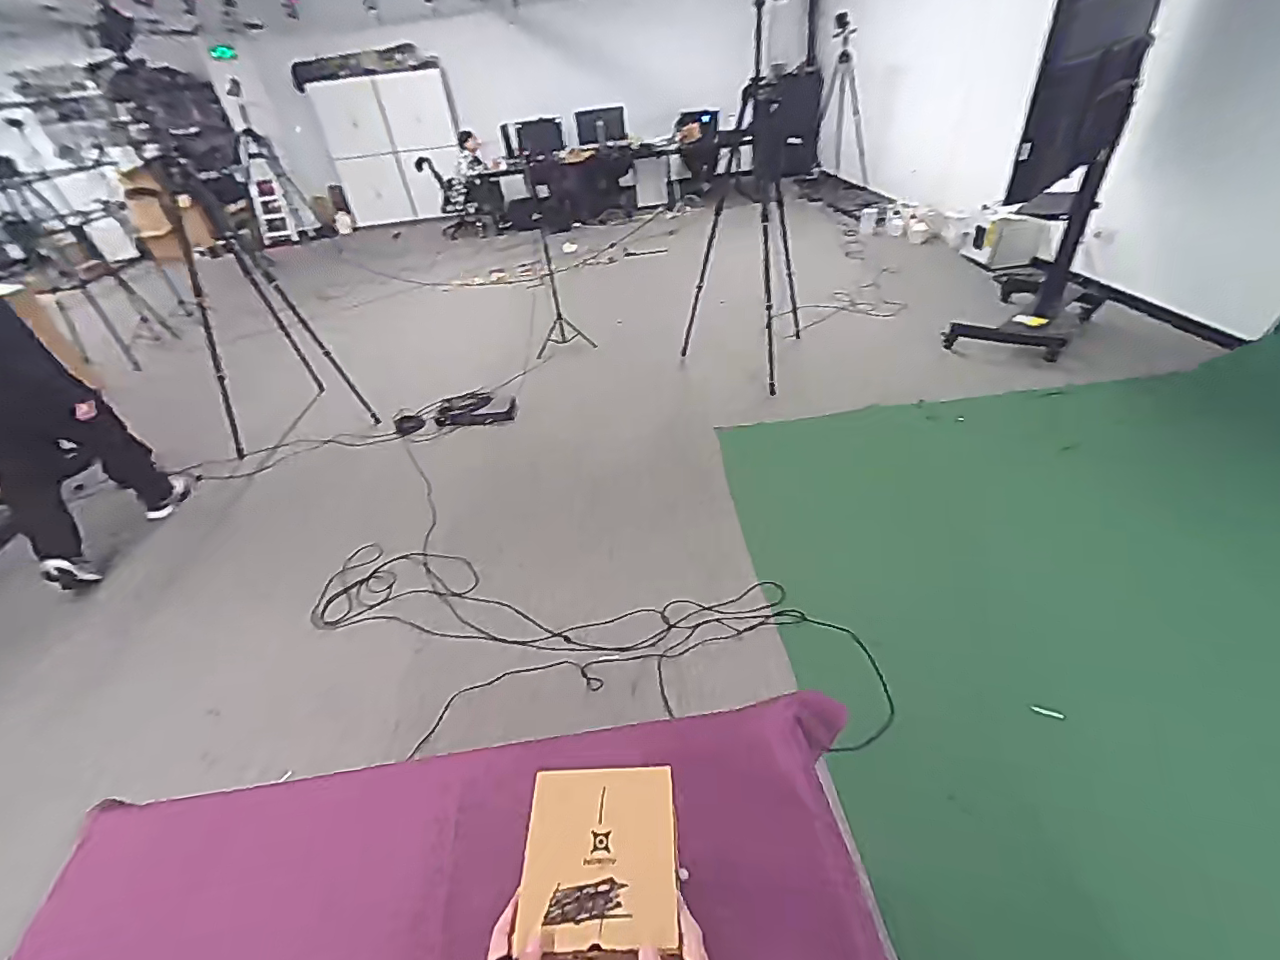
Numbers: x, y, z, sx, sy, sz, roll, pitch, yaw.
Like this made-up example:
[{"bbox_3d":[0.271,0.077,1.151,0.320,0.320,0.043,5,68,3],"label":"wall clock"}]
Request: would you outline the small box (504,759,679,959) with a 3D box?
[{"bbox_3d":[-0.043,0.452,0.628,0.168,0.176,0.179,-4,38,3],"label":"small box"}]
